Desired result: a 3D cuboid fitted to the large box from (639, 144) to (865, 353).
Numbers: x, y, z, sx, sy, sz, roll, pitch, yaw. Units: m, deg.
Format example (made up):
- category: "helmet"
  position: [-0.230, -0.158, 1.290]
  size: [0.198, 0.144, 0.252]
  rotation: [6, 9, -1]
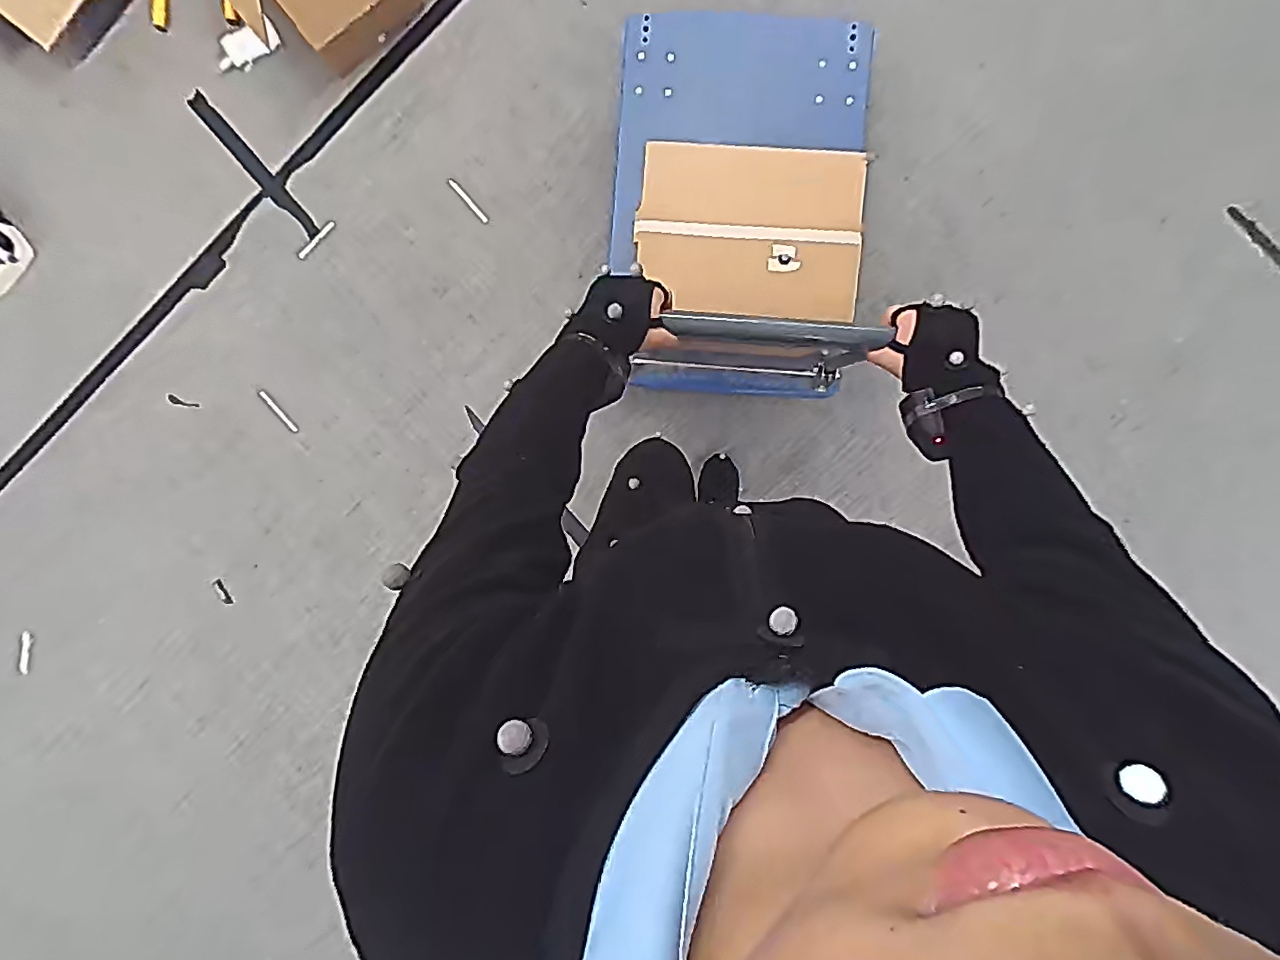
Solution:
- category: "large box"
  position: [0.205, -0.459, 1.141]
  size: [0.408, 0.320, 0.320]
  rotation: [4, 93, 1]
